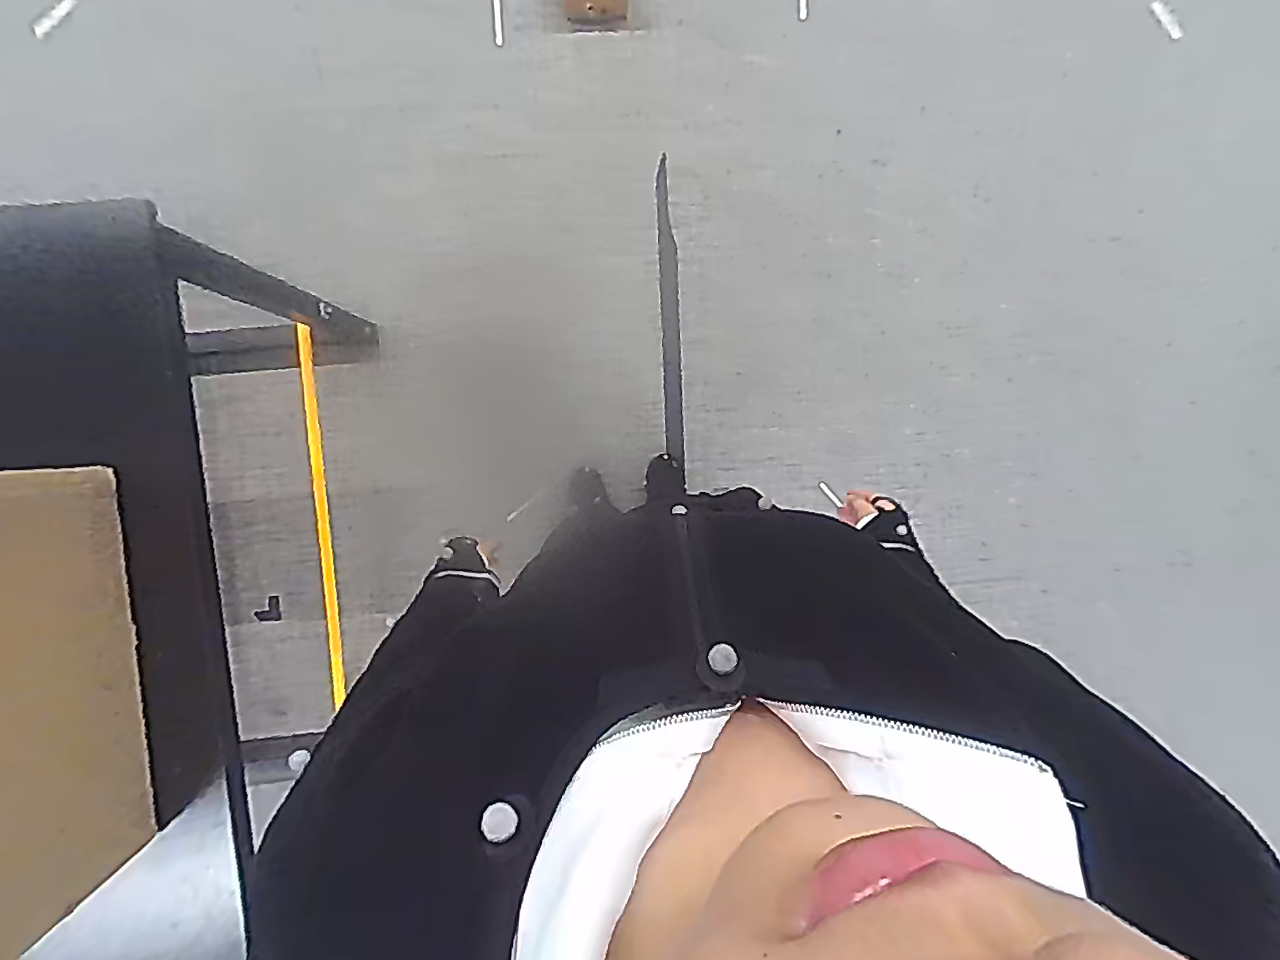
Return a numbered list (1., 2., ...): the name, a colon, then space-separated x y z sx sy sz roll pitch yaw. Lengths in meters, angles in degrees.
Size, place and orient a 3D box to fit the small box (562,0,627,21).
1. small box: -0.119 -1.270 1.312 0.168 0.176 0.179 -5 96 -2
